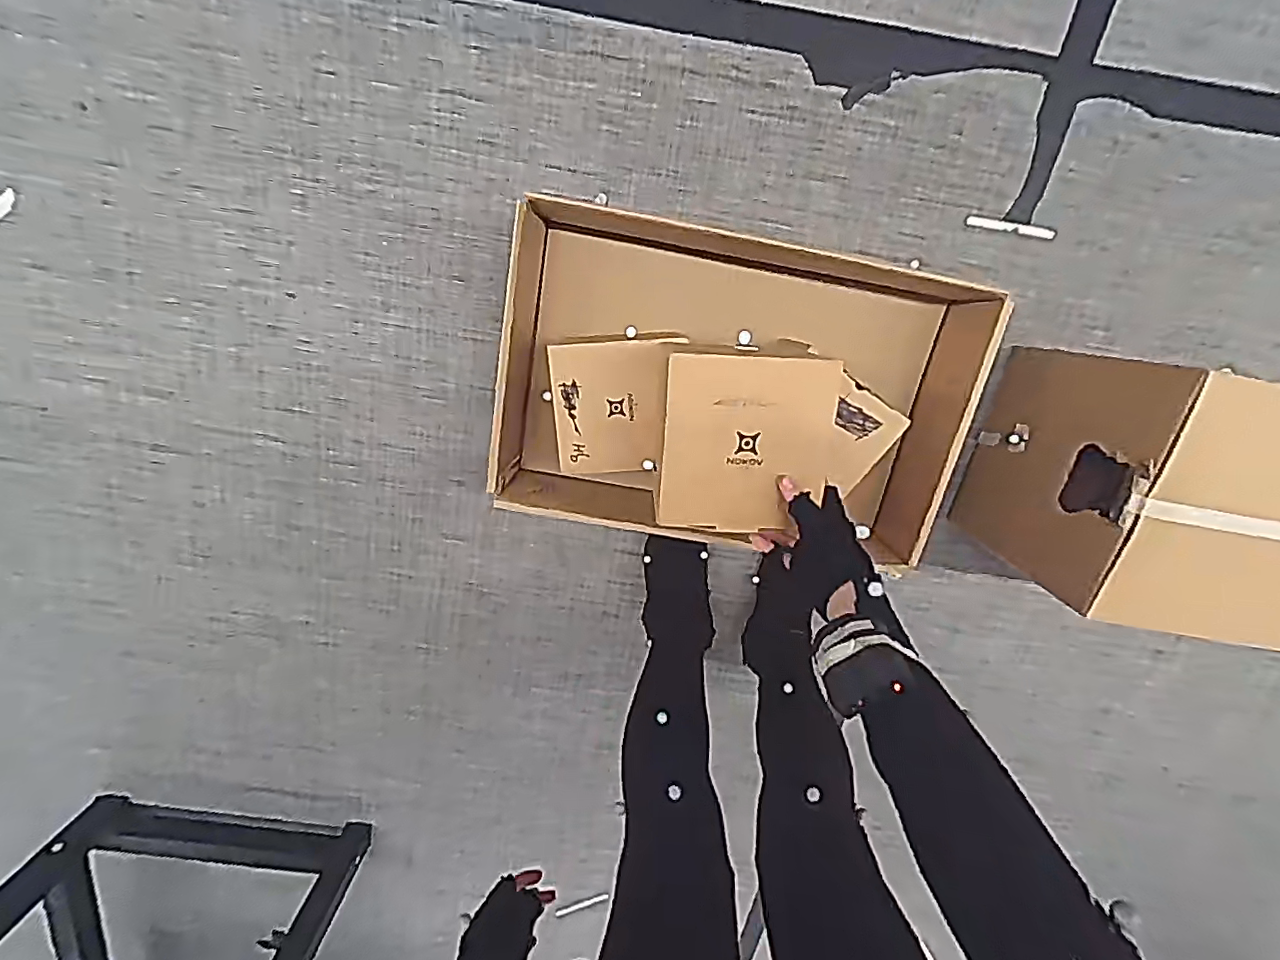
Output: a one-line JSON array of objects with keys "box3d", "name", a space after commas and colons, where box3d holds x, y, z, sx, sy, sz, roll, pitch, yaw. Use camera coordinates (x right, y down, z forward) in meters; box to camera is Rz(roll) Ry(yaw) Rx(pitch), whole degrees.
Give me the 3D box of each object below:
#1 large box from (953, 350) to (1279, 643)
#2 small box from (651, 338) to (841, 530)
[{"box3d": [0.759, 0.006, 0.771, 0.408, 0.320, 0.320, 9, 109, -4], "name": "large box"}, {"box3d": [0.100, -0.059, 0.596, 0.168, 0.176, 0.179, 2, 107, -2], "name": "small box"}]
